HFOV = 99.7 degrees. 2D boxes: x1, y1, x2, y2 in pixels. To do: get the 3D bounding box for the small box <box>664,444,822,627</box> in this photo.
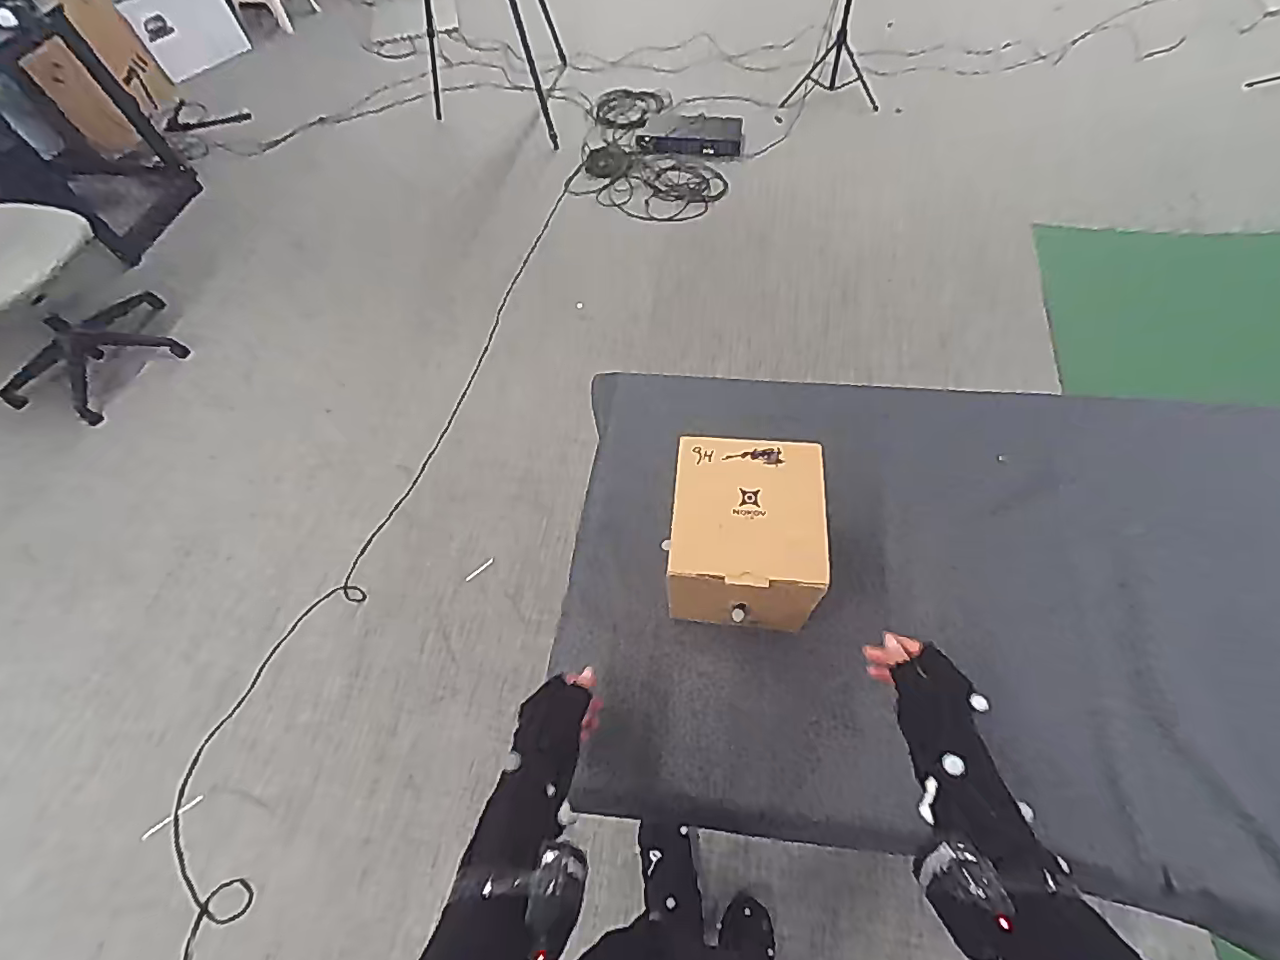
[{"bbox_3d":[0.123,0.074,0.669,0.168,0.176,0.179,3,61,8],"label":"small box"}]
